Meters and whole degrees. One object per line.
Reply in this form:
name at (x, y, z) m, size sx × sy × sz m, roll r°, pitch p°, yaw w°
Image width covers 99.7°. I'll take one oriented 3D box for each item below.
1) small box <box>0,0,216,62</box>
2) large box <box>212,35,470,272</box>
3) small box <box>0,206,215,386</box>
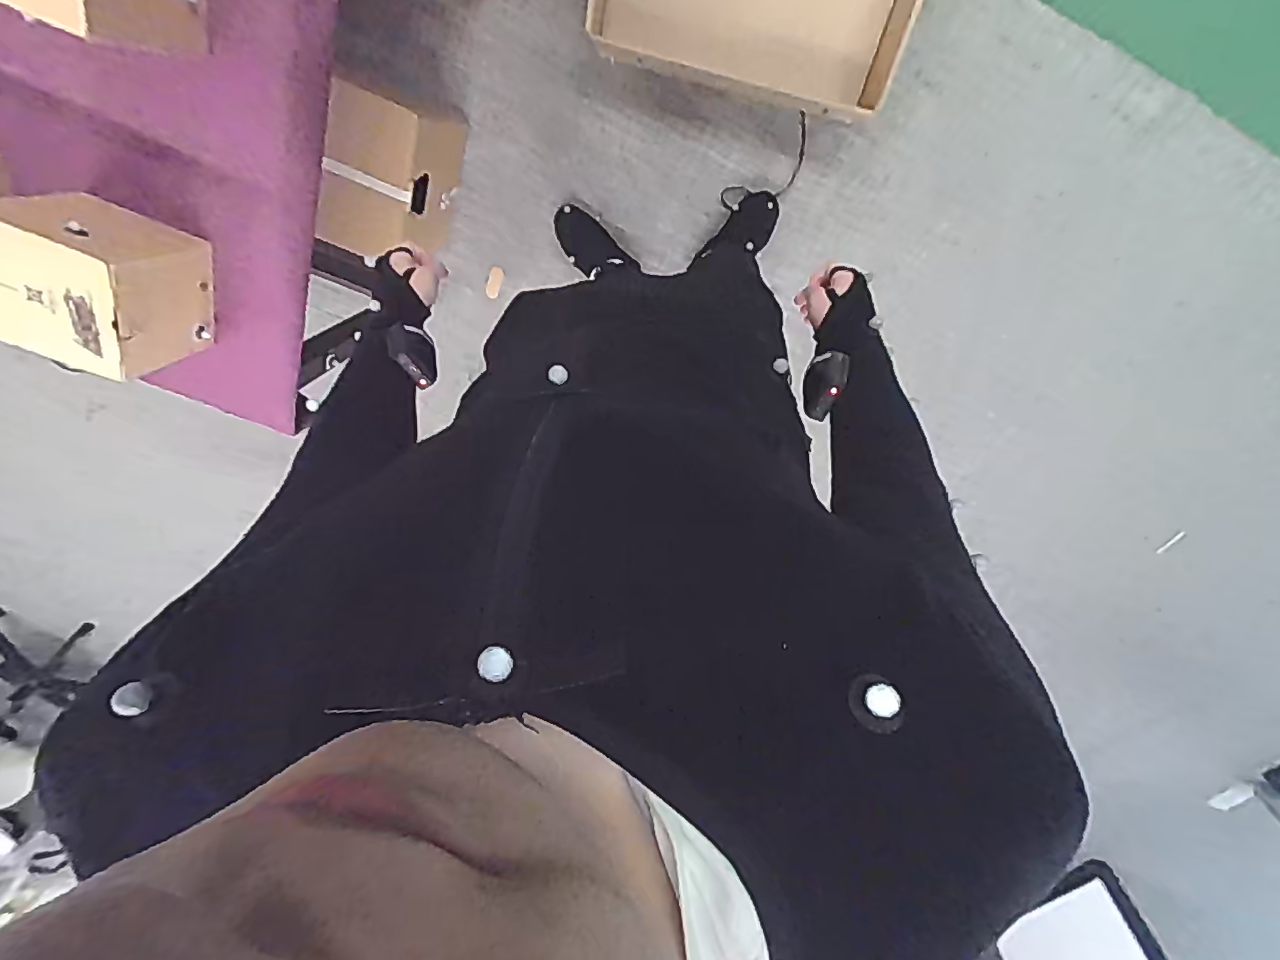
small box at (-0.581, -0.561, 0.549) m, size 0.179 × 0.176 × 0.168 m, roll 21°, pitch 121°, yaw -8°
large box at (-0.652, -0.720, 1.230) m, size 0.408 × 0.320 × 0.320 m, roll 20°, pitch 119°, yaw -7°
small box at (-0.723, -0.258, 0.737) m, size 0.179 × 0.176 × 0.168 m, roll 21°, pitch 119°, yaw -7°
